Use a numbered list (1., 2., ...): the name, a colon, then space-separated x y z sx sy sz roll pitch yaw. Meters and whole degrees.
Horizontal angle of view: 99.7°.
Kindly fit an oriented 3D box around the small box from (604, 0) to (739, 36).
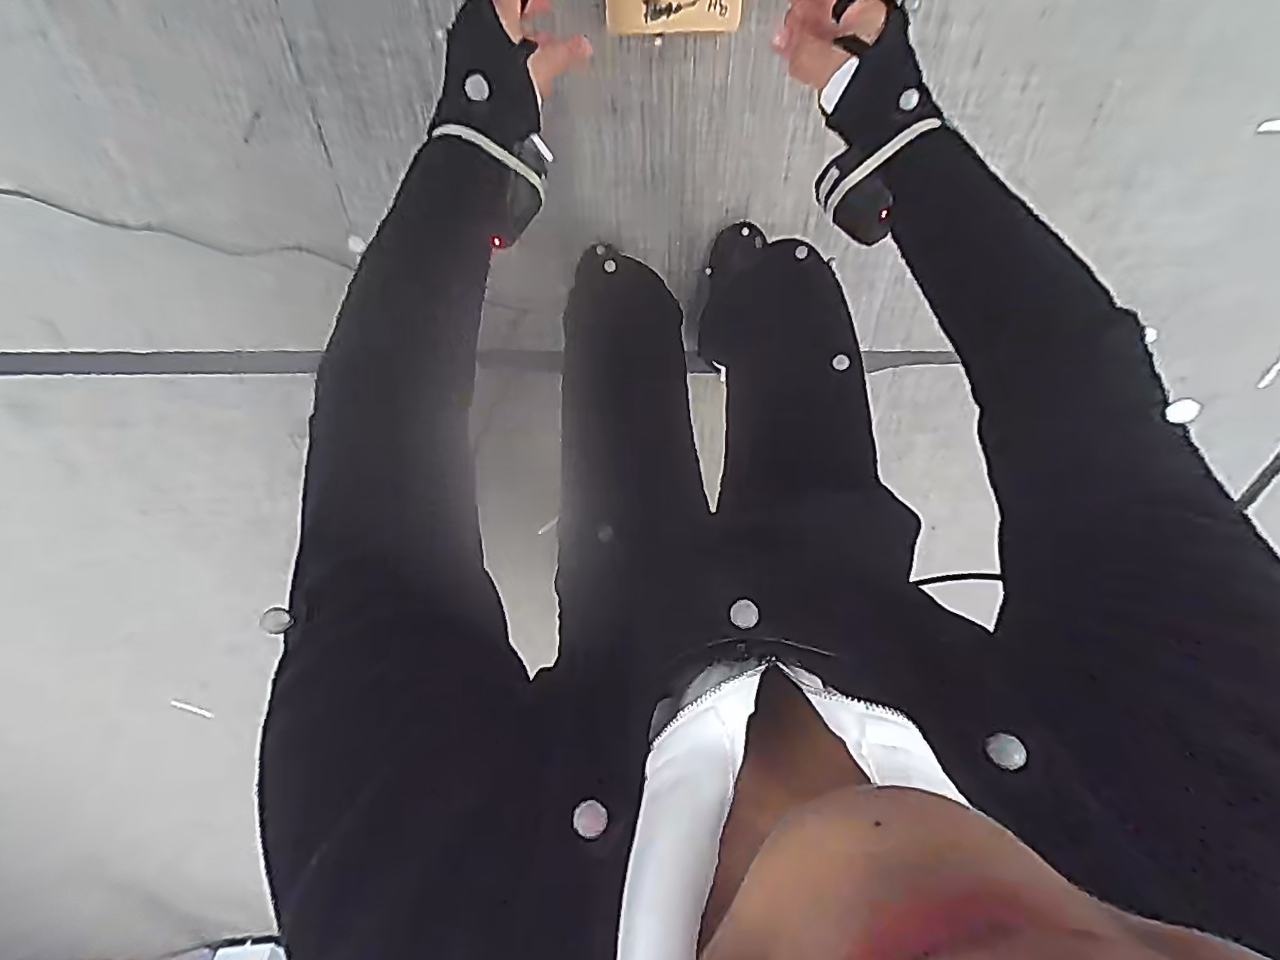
1. small box: 0.035 -0.673 0.675 0.168 0.176 0.179 -1 128 0
